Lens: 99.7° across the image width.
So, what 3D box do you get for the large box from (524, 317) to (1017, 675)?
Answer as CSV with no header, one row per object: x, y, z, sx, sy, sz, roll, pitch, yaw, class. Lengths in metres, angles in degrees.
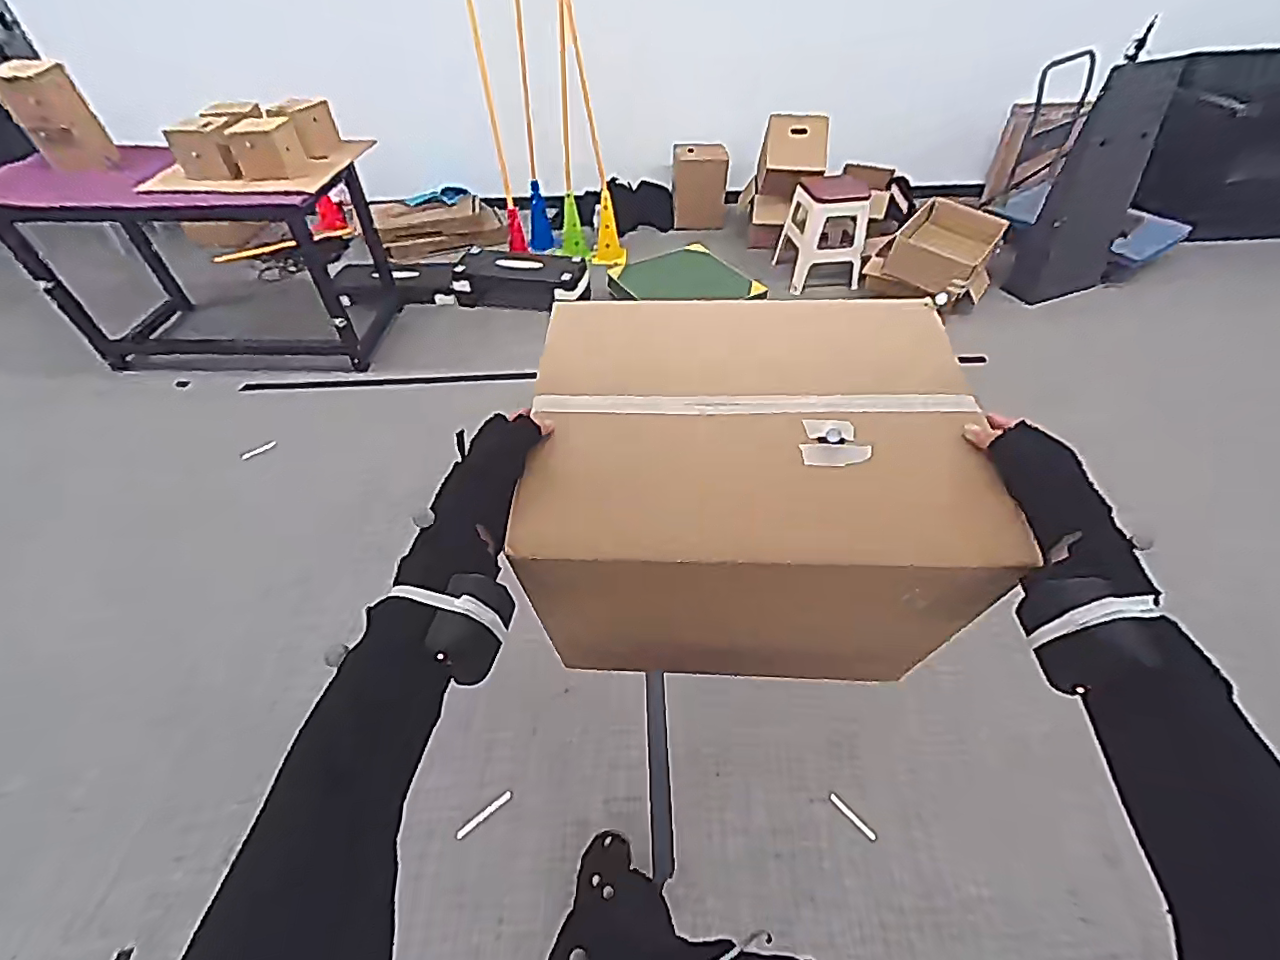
0.110,0.029,0.638,0.408,0.320,0.320,1,55,3,large box
